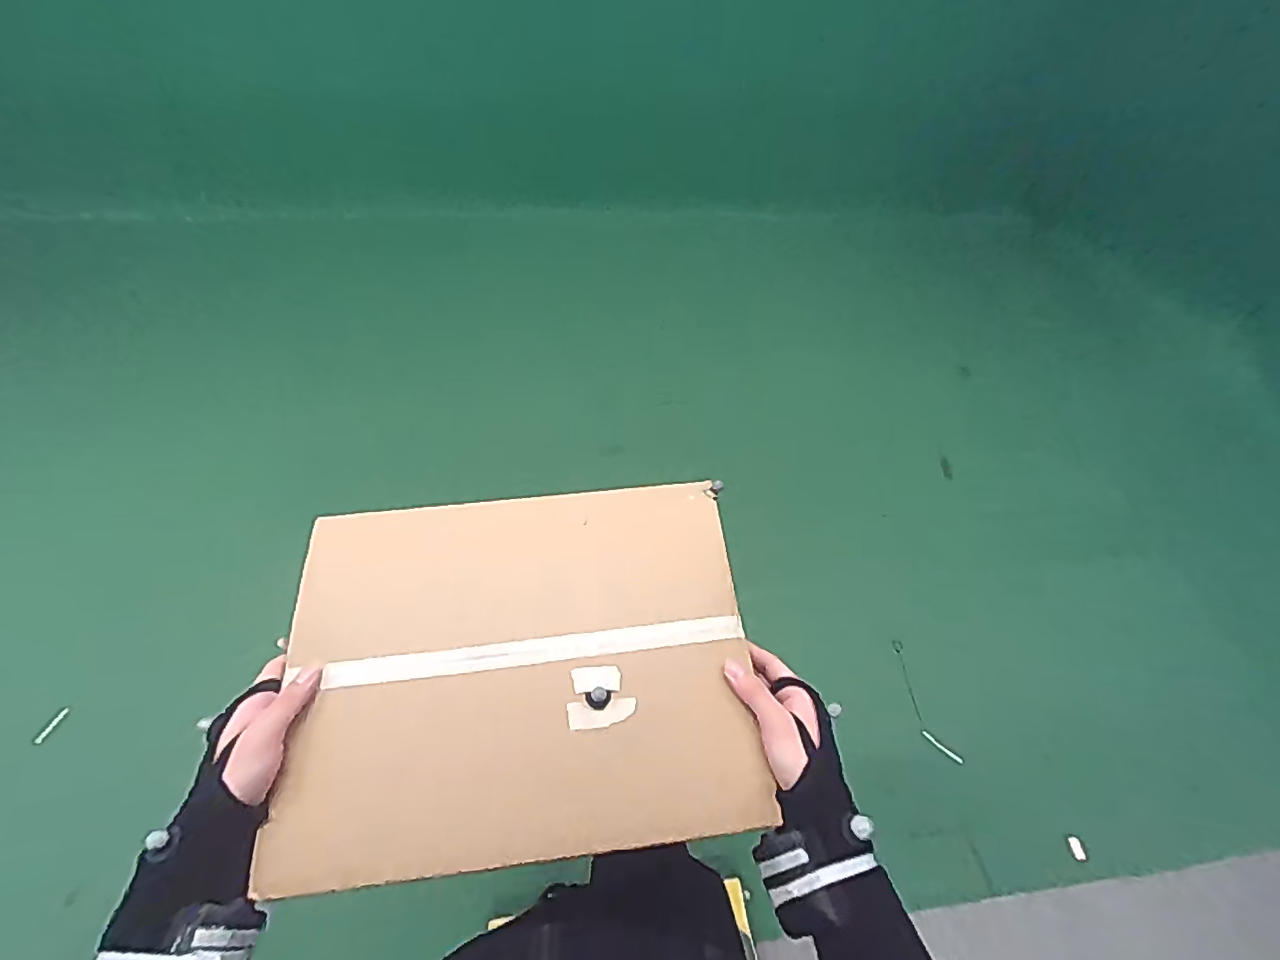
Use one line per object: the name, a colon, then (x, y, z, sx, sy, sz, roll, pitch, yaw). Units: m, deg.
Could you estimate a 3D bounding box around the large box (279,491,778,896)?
large box: (-0.106, 0.238, 0.629, 0.408, 0.320, 0.320, -5, 61, -5)
